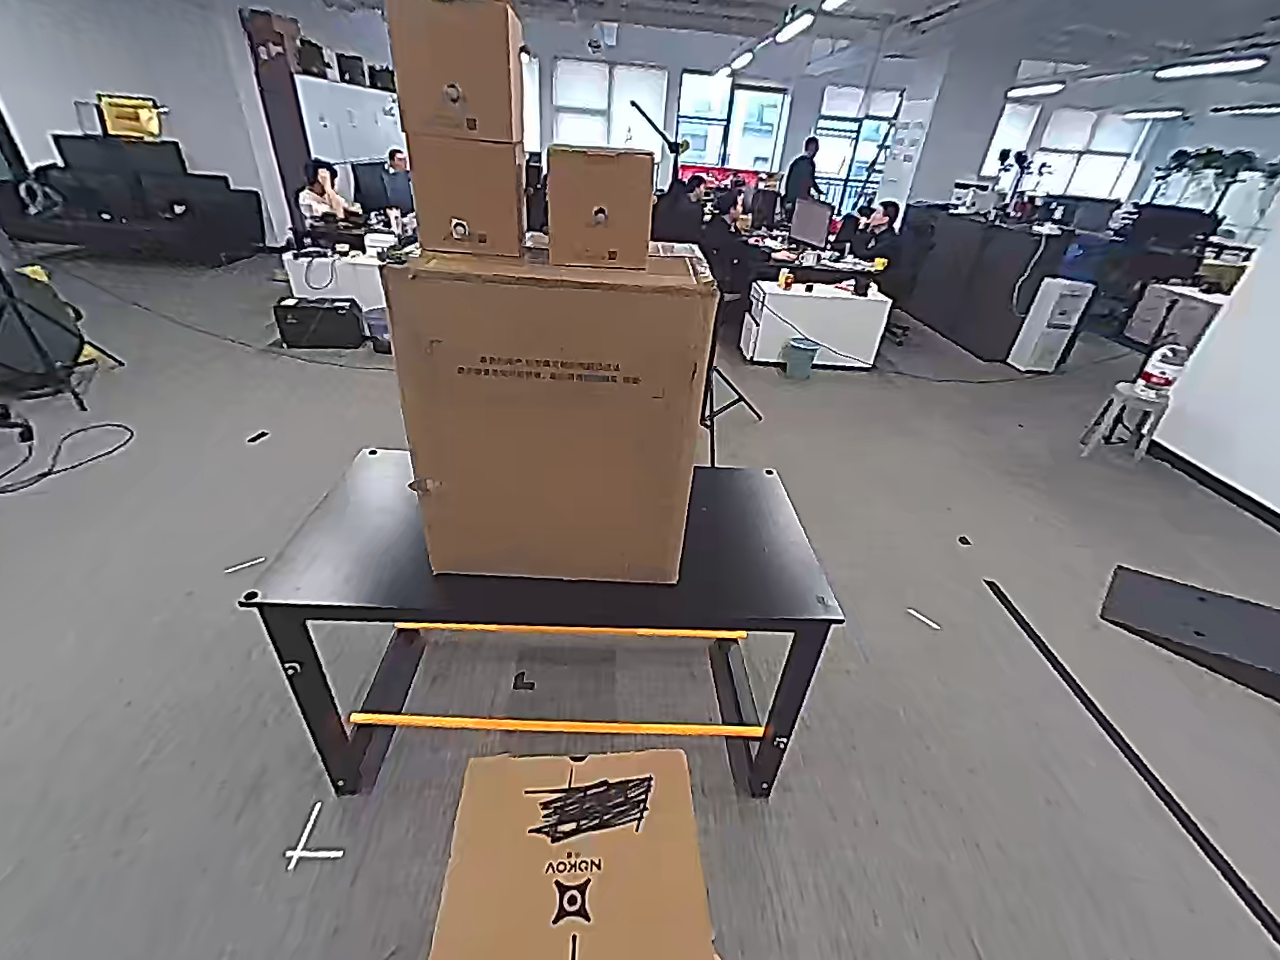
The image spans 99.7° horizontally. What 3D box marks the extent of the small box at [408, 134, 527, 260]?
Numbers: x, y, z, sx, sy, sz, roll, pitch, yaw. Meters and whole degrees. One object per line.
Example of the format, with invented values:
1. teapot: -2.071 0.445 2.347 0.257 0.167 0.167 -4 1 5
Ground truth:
1. small box: -0.283 -0.489 0.929 0.168 0.176 0.179 0 34 -8

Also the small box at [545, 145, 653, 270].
1. small box: -0.068 -0.464 0.918 0.168 0.176 0.179 0 34 -5

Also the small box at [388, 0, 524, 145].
1. small box: -0.272 -0.626 0.839 0.168 0.176 0.179 1 33 -6
